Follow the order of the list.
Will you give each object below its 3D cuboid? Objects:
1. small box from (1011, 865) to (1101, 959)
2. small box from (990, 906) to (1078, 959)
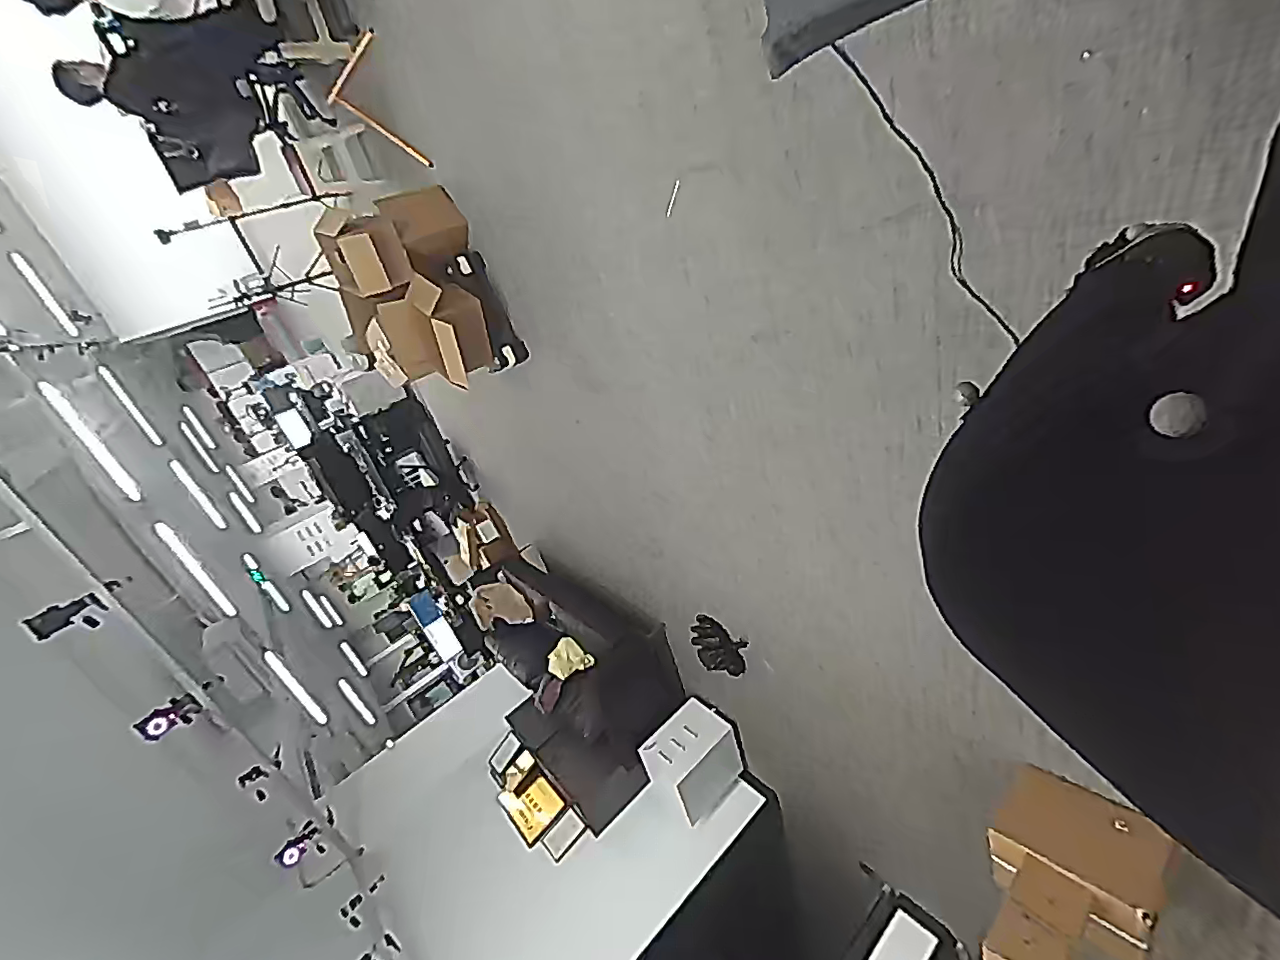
[{"bbox_3d":[1.256,1.318,1.639,0.179,0.176,0.168,16,131,50],"label":"small box"},{"bbox_3d":[1.135,1.395,1.560,0.168,0.176,0.179,16,130,51],"label":"small box"}]
